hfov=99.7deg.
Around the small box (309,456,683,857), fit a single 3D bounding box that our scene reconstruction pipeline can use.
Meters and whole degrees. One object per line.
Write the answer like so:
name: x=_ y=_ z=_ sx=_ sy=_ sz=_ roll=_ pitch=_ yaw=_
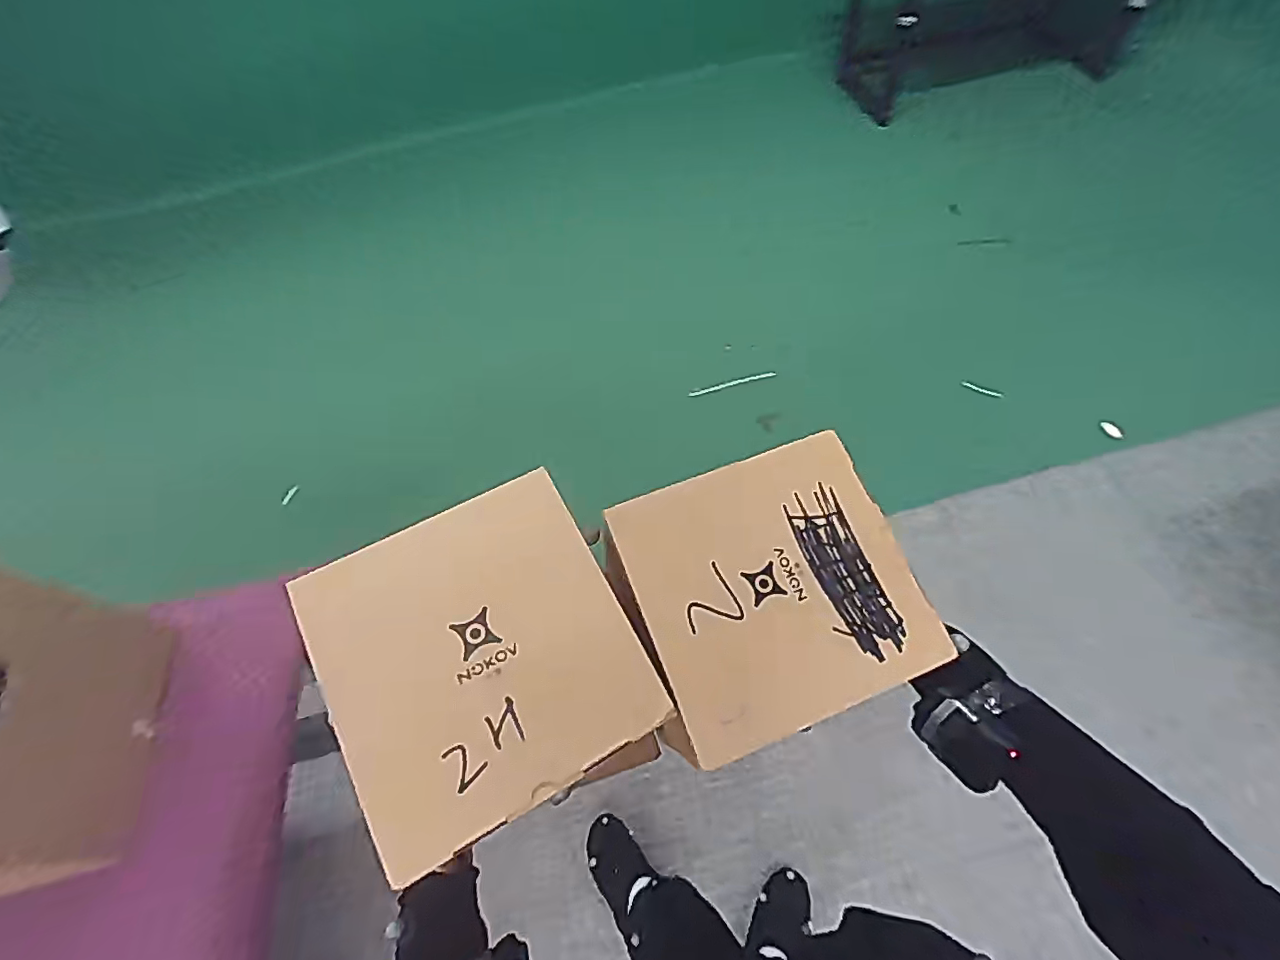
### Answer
small box: x=-0.093 y=0.117 z=0.385 sx=0.168 sy=0.176 sz=0.179 roll=-25 pitch=71 yaw=-15
